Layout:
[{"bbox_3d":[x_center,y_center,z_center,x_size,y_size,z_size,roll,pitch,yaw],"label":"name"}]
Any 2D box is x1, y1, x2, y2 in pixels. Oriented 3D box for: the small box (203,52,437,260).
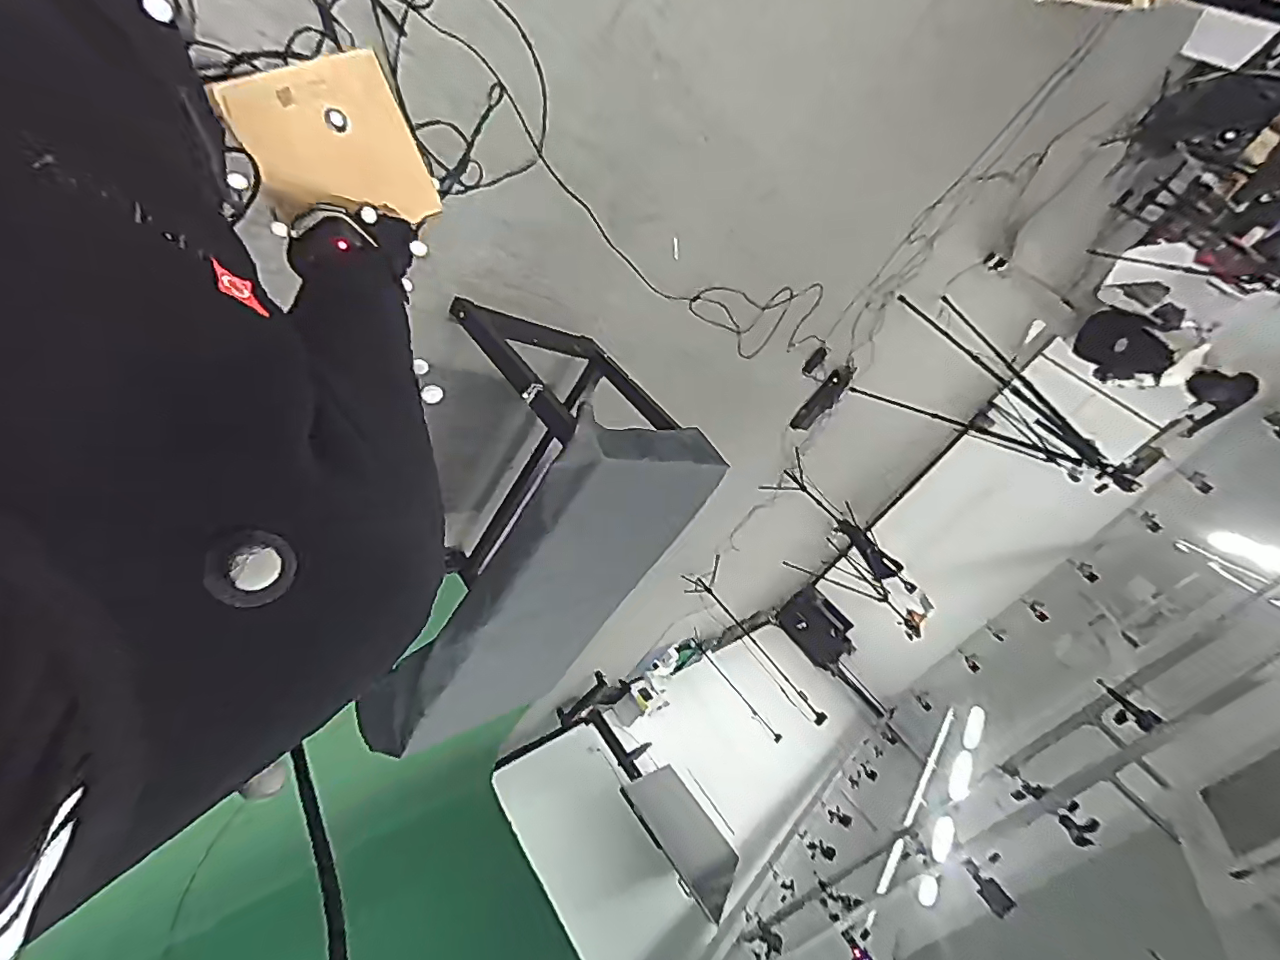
[{"bbox_3d":[-0.373,-0.379,0.645,0.168,0.179,0.176,-31,124,-18],"label":"small box"}]
